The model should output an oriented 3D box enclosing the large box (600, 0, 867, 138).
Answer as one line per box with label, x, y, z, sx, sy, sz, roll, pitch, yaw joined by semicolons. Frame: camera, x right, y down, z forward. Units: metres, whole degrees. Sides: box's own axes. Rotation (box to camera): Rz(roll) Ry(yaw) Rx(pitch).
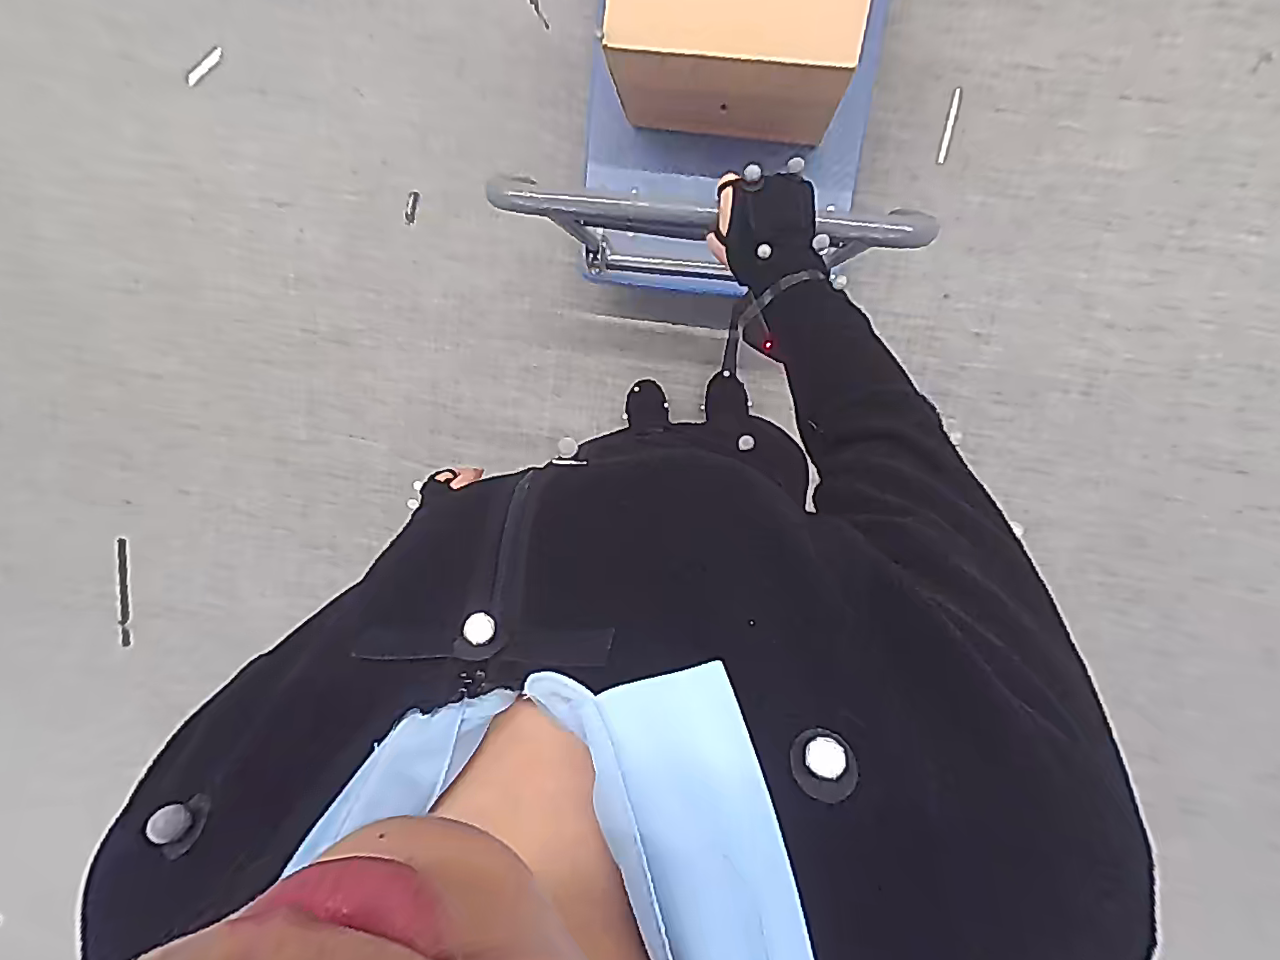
large box;0.172;-0.838;0.948;0.408;0.320;0.320;9;102;7
